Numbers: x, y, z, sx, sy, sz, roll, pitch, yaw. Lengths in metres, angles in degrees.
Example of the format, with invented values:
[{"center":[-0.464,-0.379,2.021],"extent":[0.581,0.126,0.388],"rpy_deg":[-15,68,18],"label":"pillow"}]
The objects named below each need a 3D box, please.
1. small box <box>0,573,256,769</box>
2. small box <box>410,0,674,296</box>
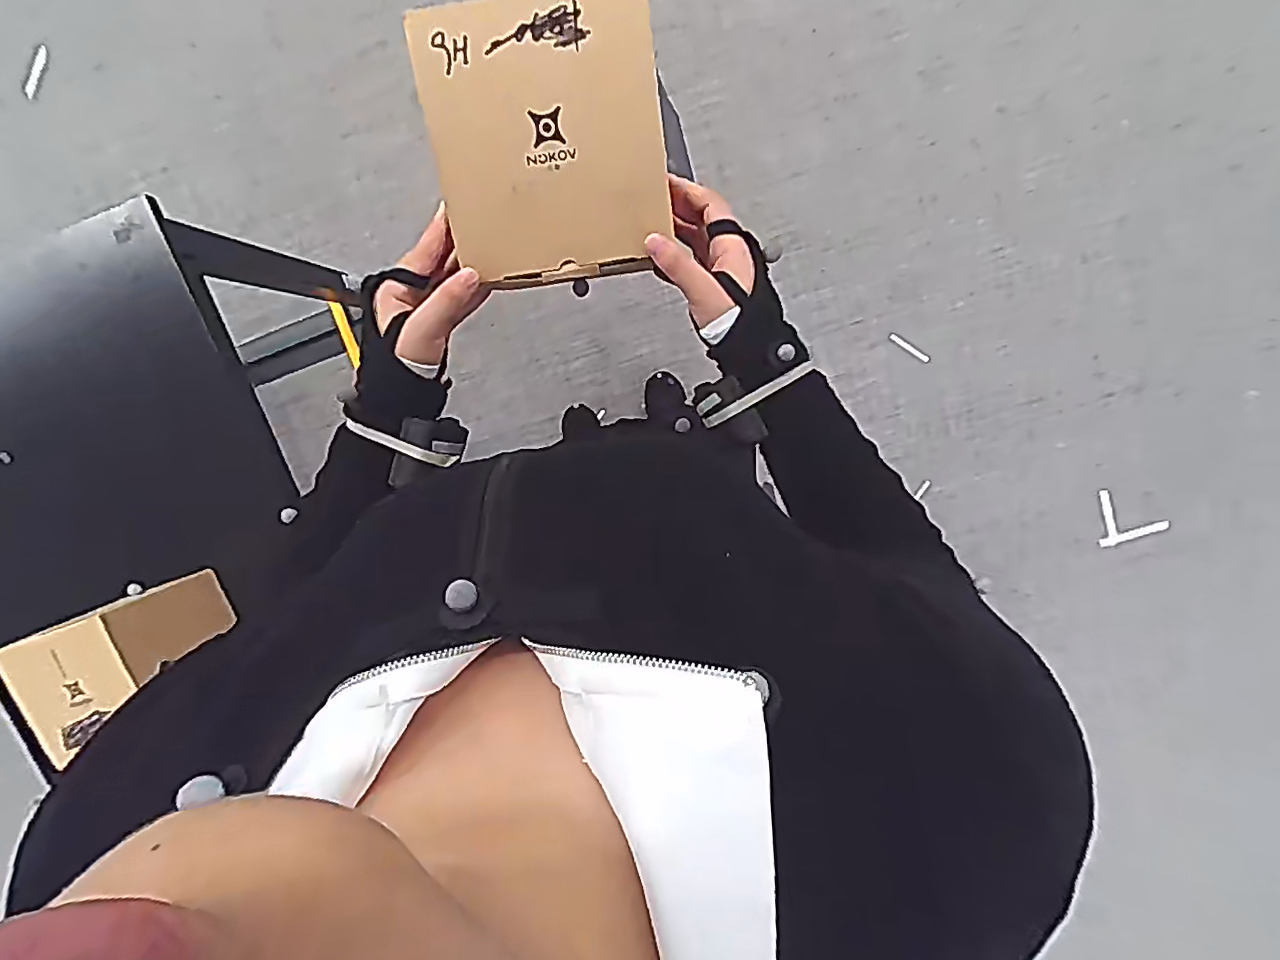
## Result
[{"center":[-0.691,0.256,0.754],"extent":[0.168,0.176,0.179],"rpy_deg":[-18,99,6],"label":"small box"},{"center":[-0.064,-0.261,0.461],"extent":[0.168,0.176,0.179],"rpy_deg":[-8,110,1],"label":"small box"}]
